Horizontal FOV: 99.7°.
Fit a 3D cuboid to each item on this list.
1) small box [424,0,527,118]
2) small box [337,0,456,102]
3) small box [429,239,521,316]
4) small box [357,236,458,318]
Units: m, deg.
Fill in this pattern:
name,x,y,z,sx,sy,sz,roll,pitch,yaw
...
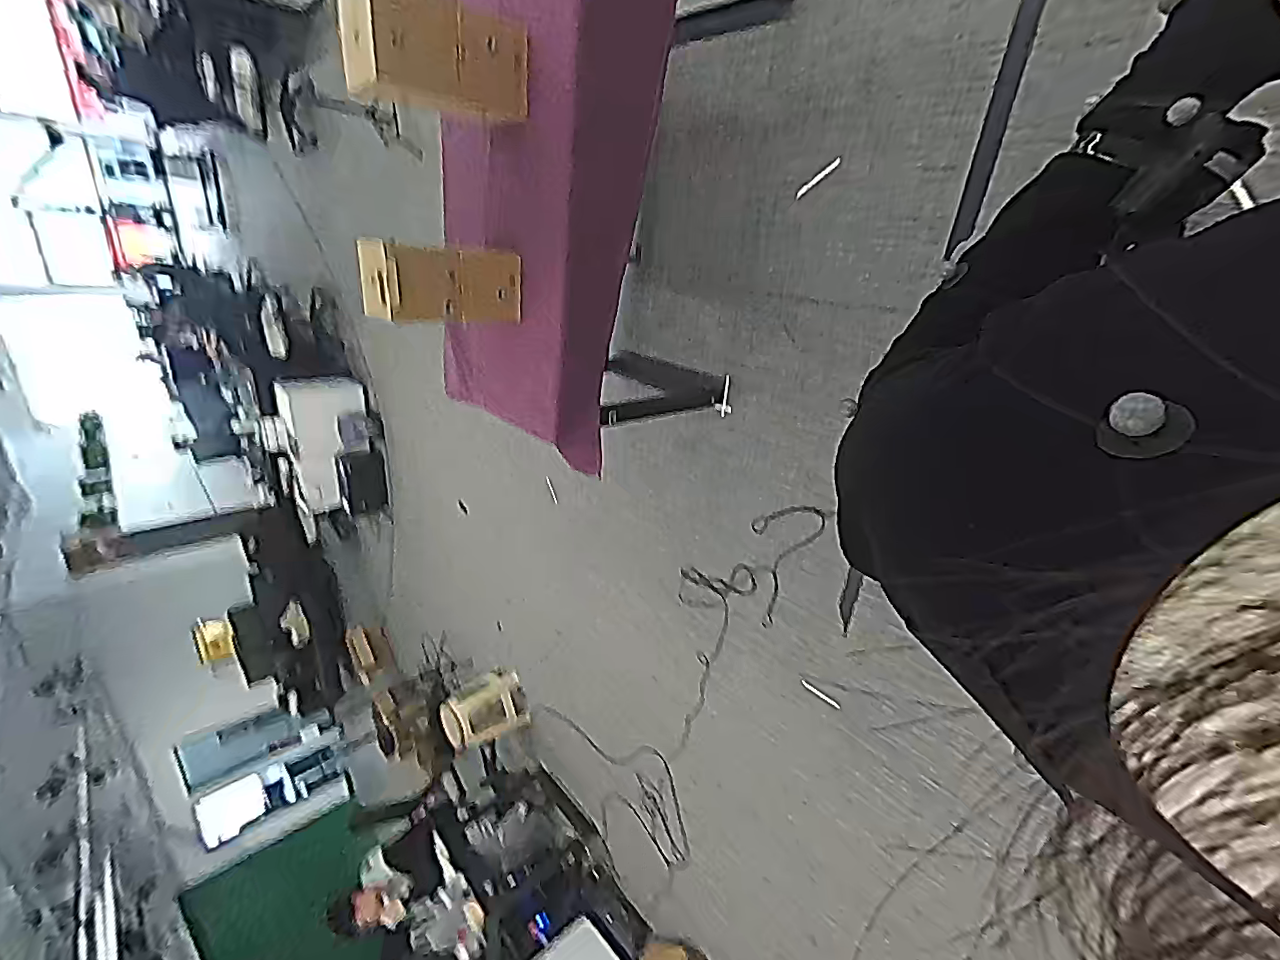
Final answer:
name,x,y,z,sx,sy,sz,roll,pitch,yaw
small box,-0.364,-0.916,1.190,0.179,0.176,0.168,27,121,40
small box,-0.480,-0.879,1.080,0.168,0.176,0.179,26,119,39
small box,-0.424,-0.516,1.386,0.179,0.176,0.168,26,120,39
small box,-0.543,-0.481,1.278,0.179,0.176,0.168,25,119,41
